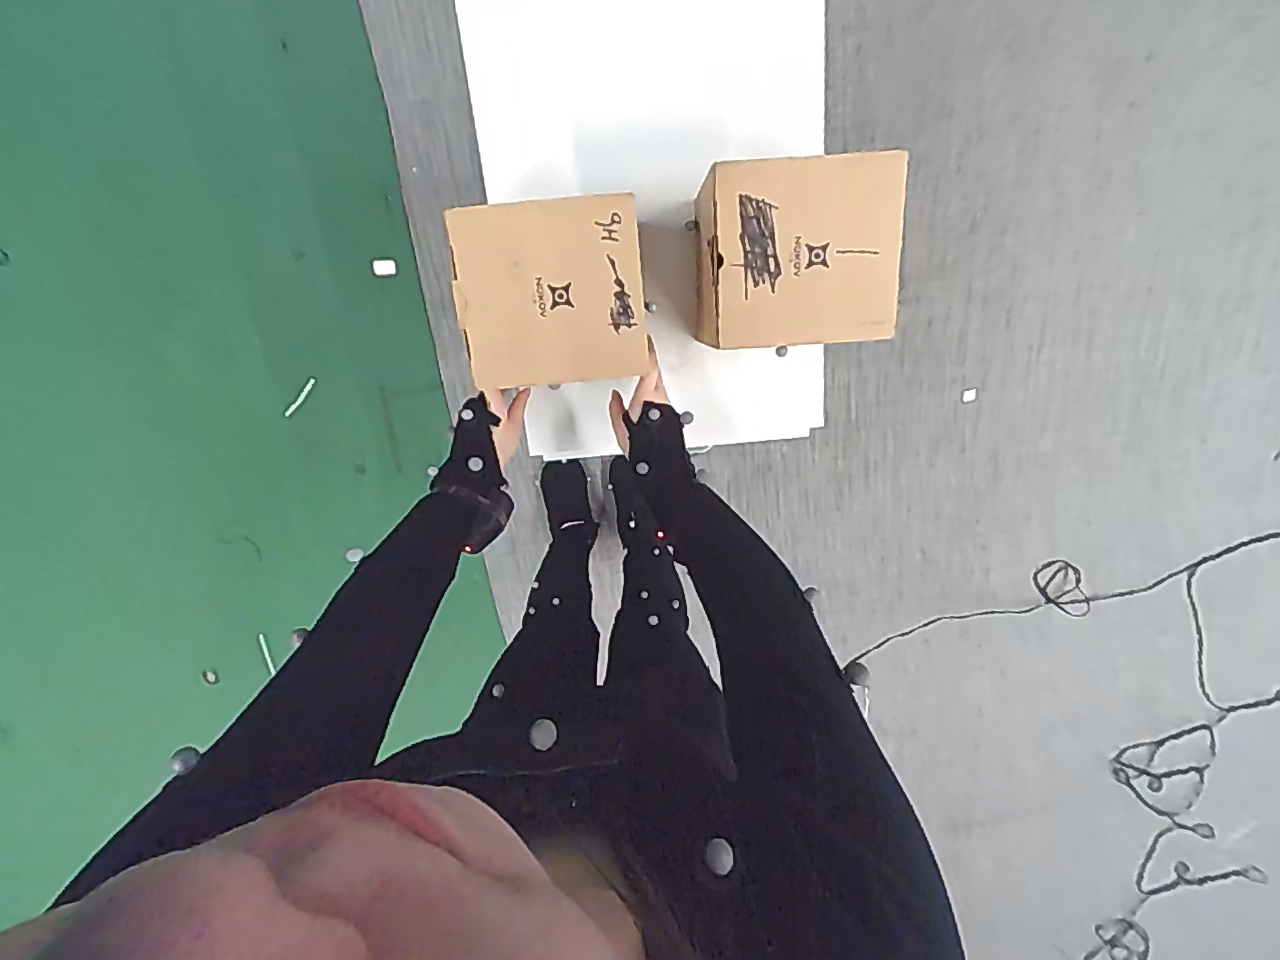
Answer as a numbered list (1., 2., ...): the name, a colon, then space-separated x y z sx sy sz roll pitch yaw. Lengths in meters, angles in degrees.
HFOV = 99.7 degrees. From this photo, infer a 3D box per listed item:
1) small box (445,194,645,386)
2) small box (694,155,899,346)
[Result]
1. small box: -0.090 -0.199 0.591 0.179 0.176 0.168 -6 107 -1
2. small box: 0.152 -0.236 0.589 0.179 0.176 0.168 -4 107 -1
